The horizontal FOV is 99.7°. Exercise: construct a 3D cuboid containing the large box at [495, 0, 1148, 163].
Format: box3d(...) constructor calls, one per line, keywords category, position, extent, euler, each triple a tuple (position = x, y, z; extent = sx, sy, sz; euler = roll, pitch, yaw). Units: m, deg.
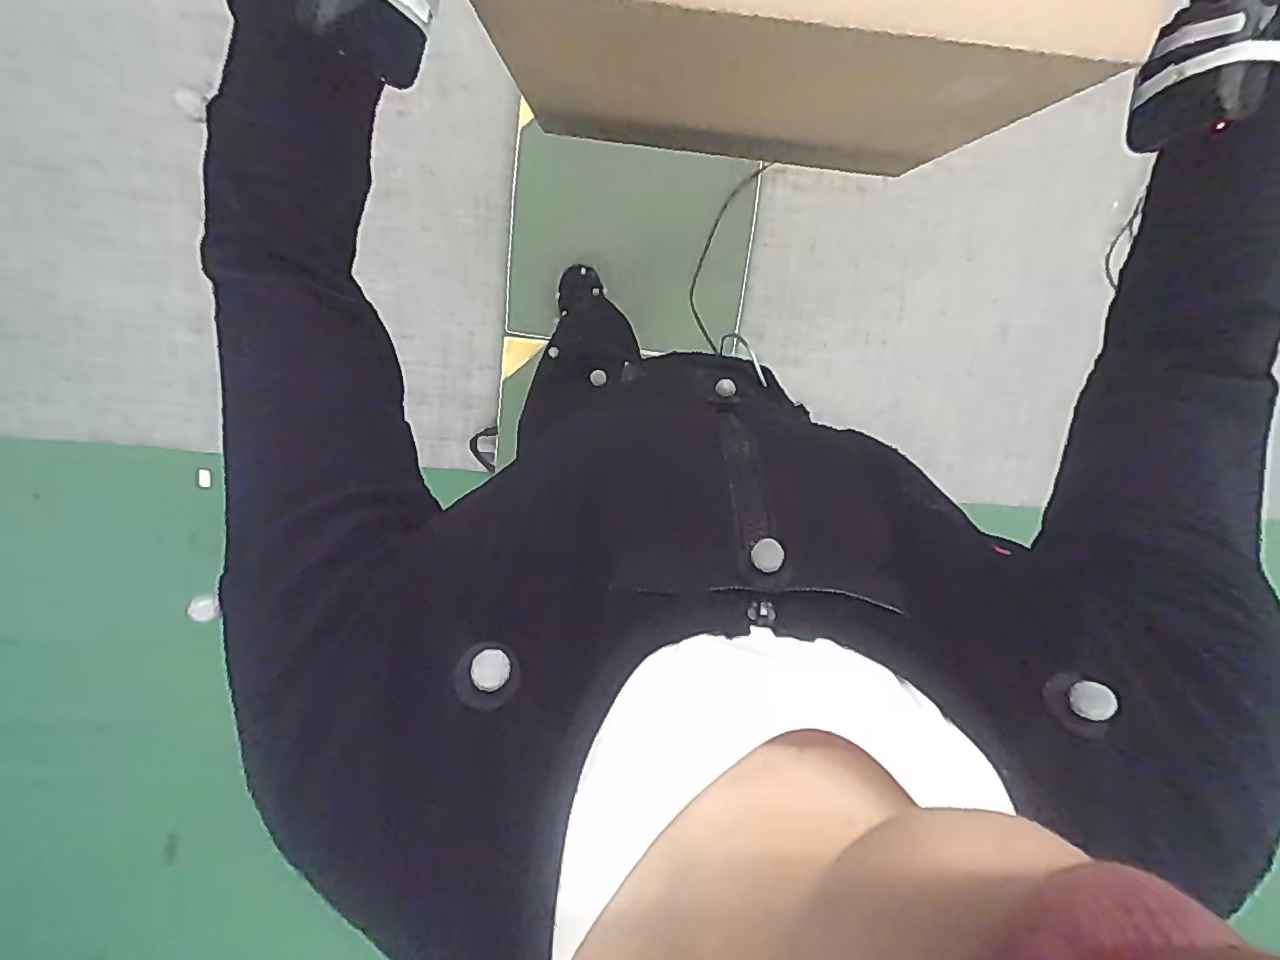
box3d(category="large box", position=(0.109, -0.466, 0.411), extent=(0.408, 0.320, 0.320), euler=(5, 109, -3))
